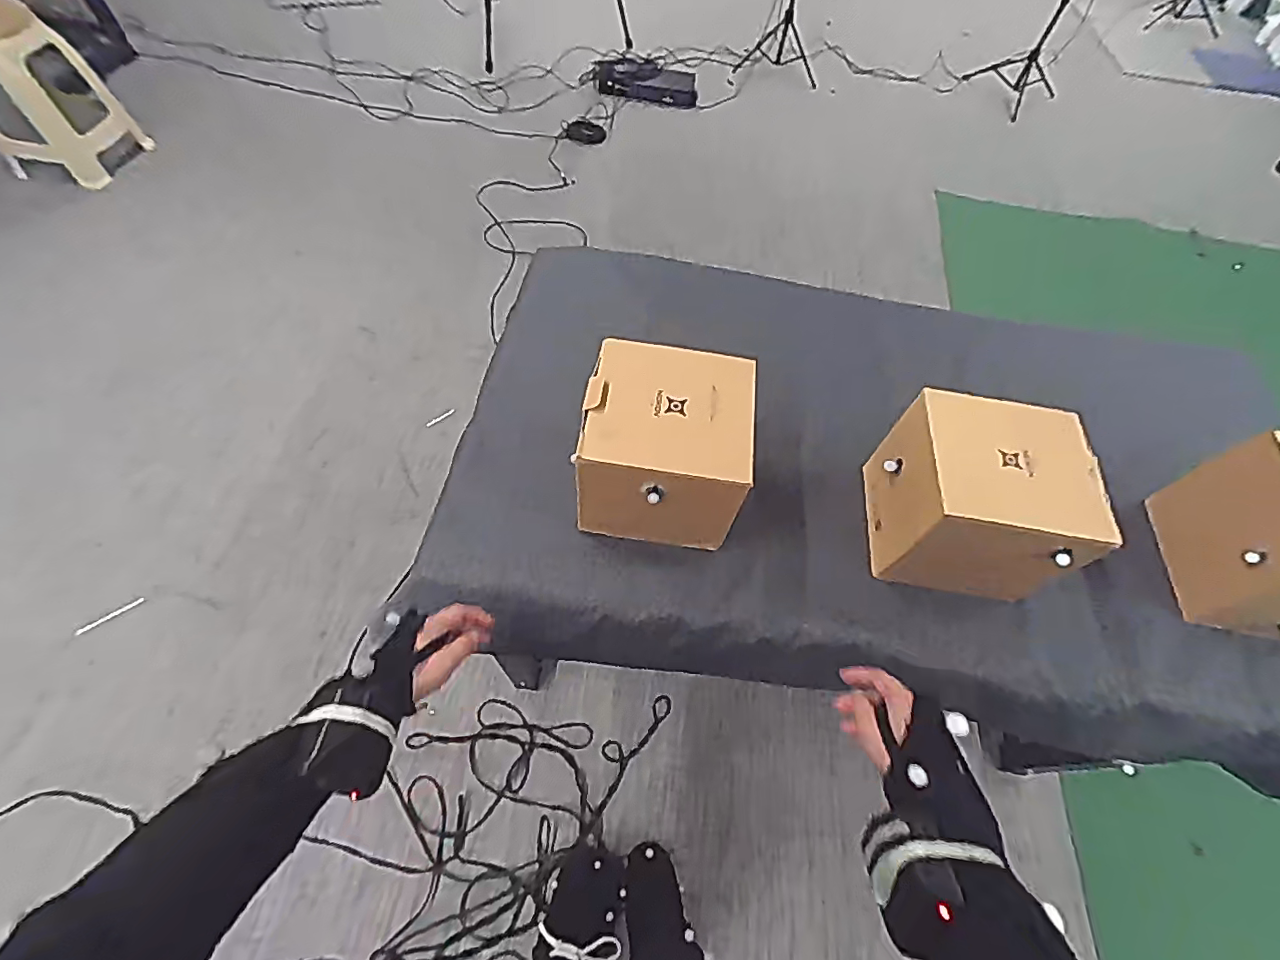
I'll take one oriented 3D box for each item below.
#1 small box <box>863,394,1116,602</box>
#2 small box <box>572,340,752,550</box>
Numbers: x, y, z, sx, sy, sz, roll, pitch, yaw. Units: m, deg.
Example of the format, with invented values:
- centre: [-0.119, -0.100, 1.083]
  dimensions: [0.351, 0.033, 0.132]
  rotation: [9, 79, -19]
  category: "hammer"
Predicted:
- centre: [0.375, 0.027, 0.626]
  dimensions: [0.179, 0.176, 0.168]
  rotation: [10, 57, 0]
  category: "small box"
- centre: [0.022, -0.033, 0.629]
  dimensions: [0.179, 0.176, 0.168]
  rotation: [10, 59, -1]
  category: "small box"
